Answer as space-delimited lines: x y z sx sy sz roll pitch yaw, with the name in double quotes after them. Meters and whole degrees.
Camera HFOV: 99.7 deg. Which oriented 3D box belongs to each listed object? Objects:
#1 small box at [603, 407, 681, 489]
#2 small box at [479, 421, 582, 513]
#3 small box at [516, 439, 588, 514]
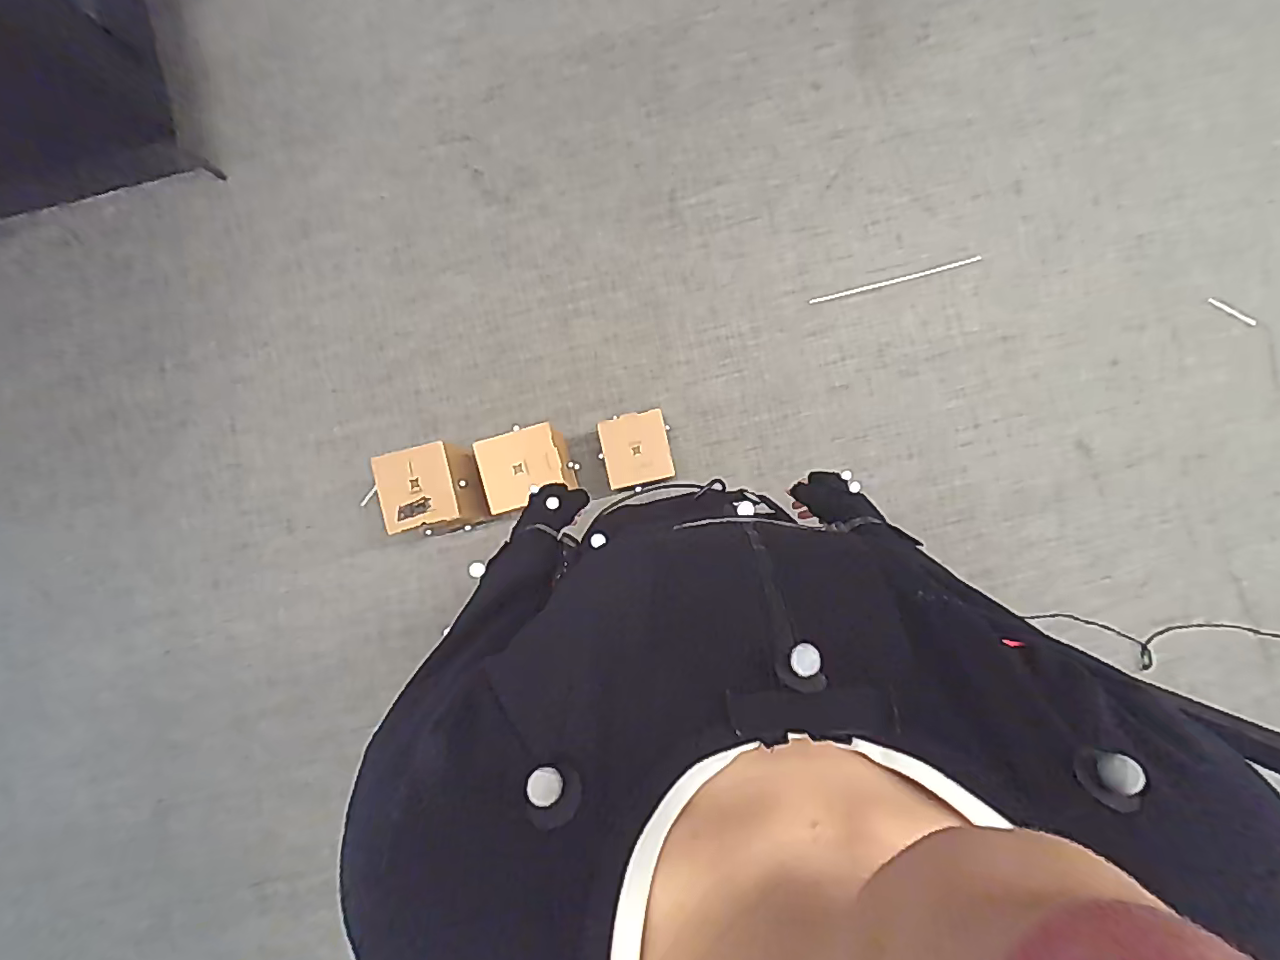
0.005 -0.077 1.406 0.168 0.176 0.179 -13 88 2 "small box"
-0.245 -0.024 1.247 0.179 0.176 0.168 -16 88 1 "small box"
-0.244 -0.013 1.409 0.168 0.176 0.179 -15 87 2 "small box"
